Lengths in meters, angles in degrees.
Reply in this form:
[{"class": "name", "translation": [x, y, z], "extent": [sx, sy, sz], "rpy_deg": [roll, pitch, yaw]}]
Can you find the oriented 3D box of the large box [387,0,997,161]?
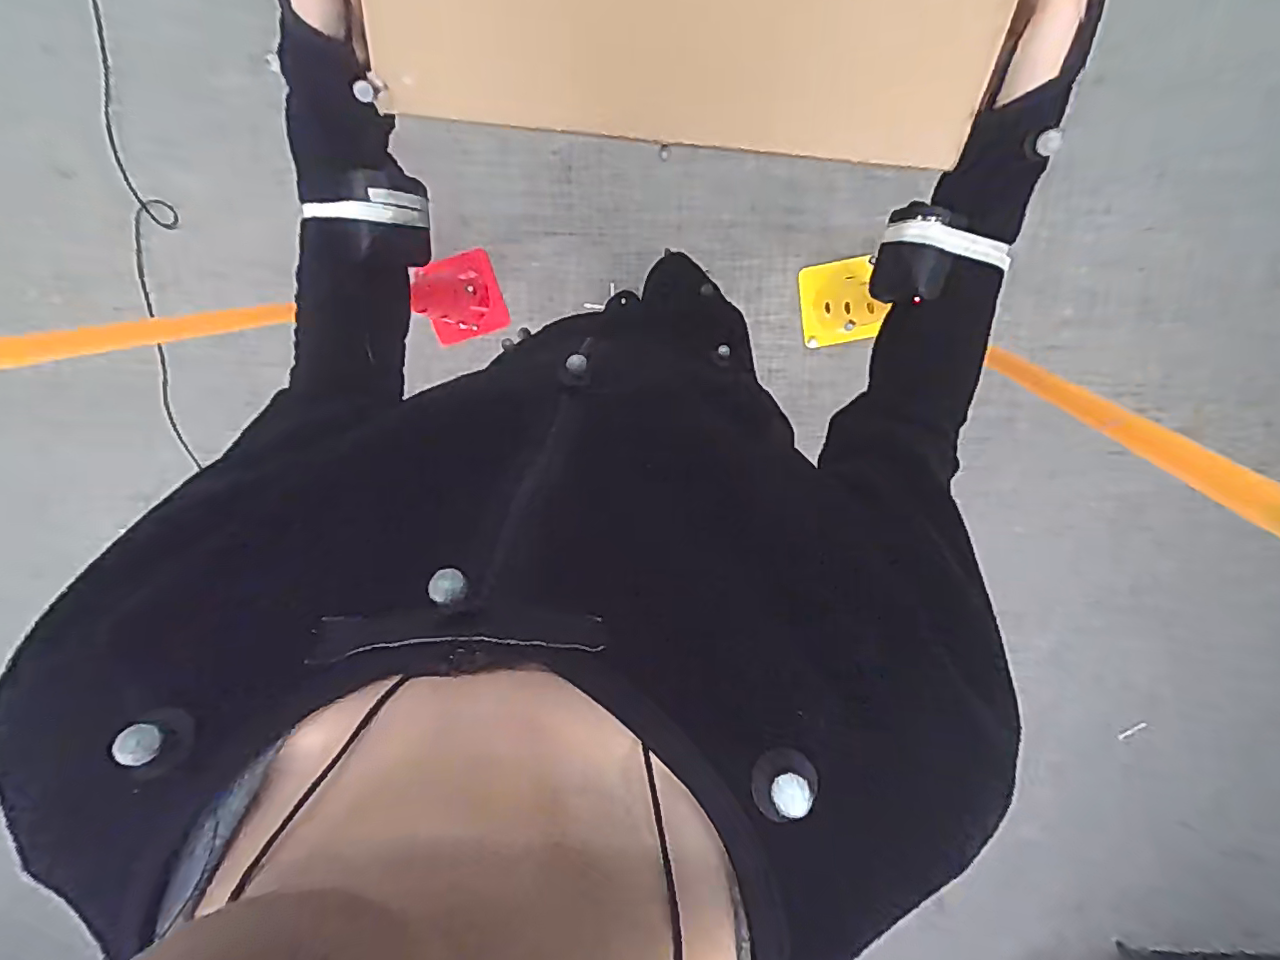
[{"class": "large box", "translation": [0.044, -0.458, 0.433], "extent": [0.408, 0.320, 0.320], "rpy_deg": [5, 122, -1]}]
